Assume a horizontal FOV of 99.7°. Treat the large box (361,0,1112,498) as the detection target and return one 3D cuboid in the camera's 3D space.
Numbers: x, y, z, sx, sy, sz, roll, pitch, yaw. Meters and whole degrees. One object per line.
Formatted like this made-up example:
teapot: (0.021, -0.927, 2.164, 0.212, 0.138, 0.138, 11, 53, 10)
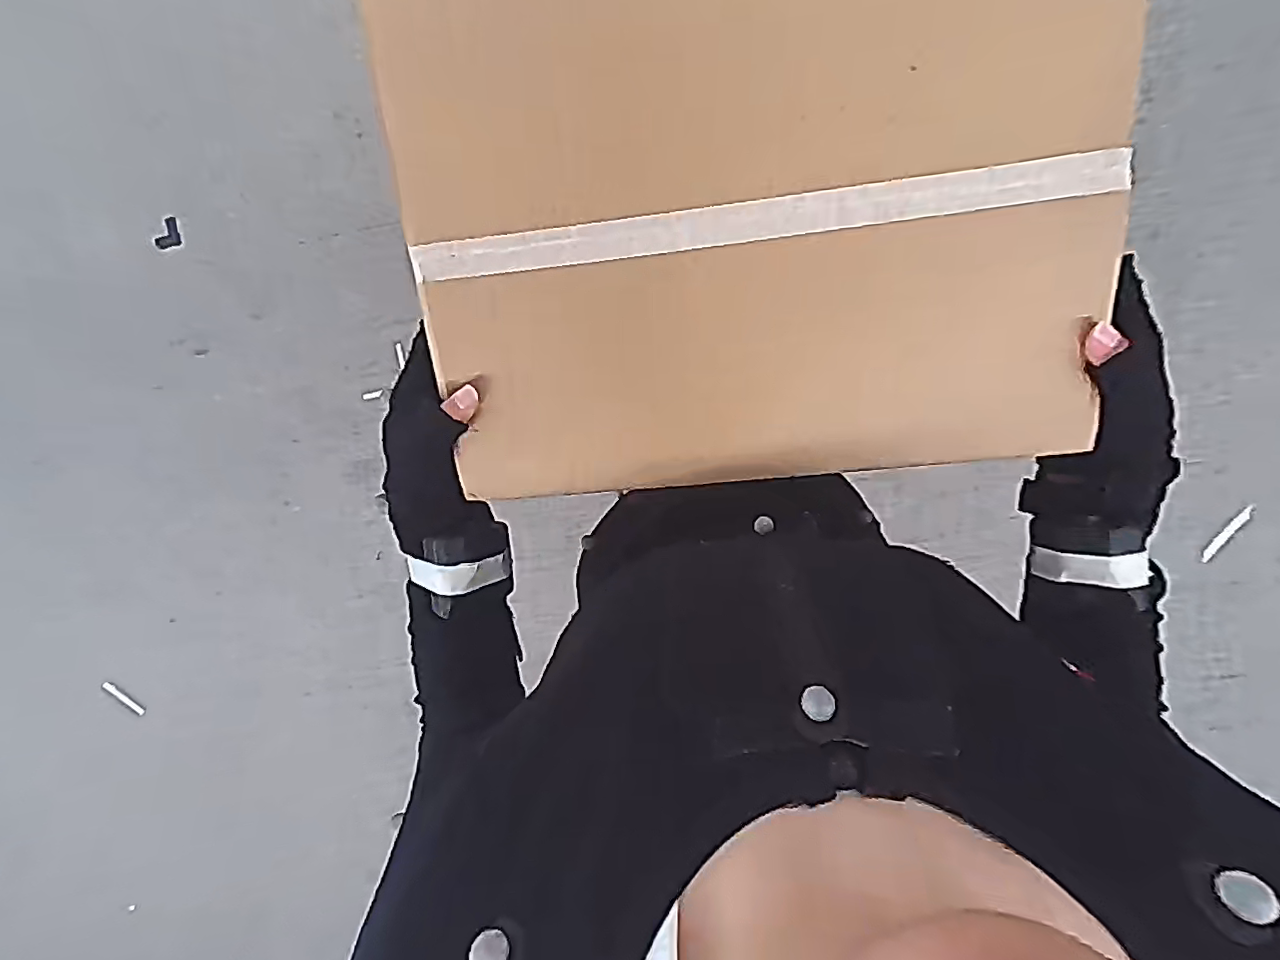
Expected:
large box: (0.068, -0.195, 0.465, 0.408, 0.320, 0.320, -5, 106, 6)
